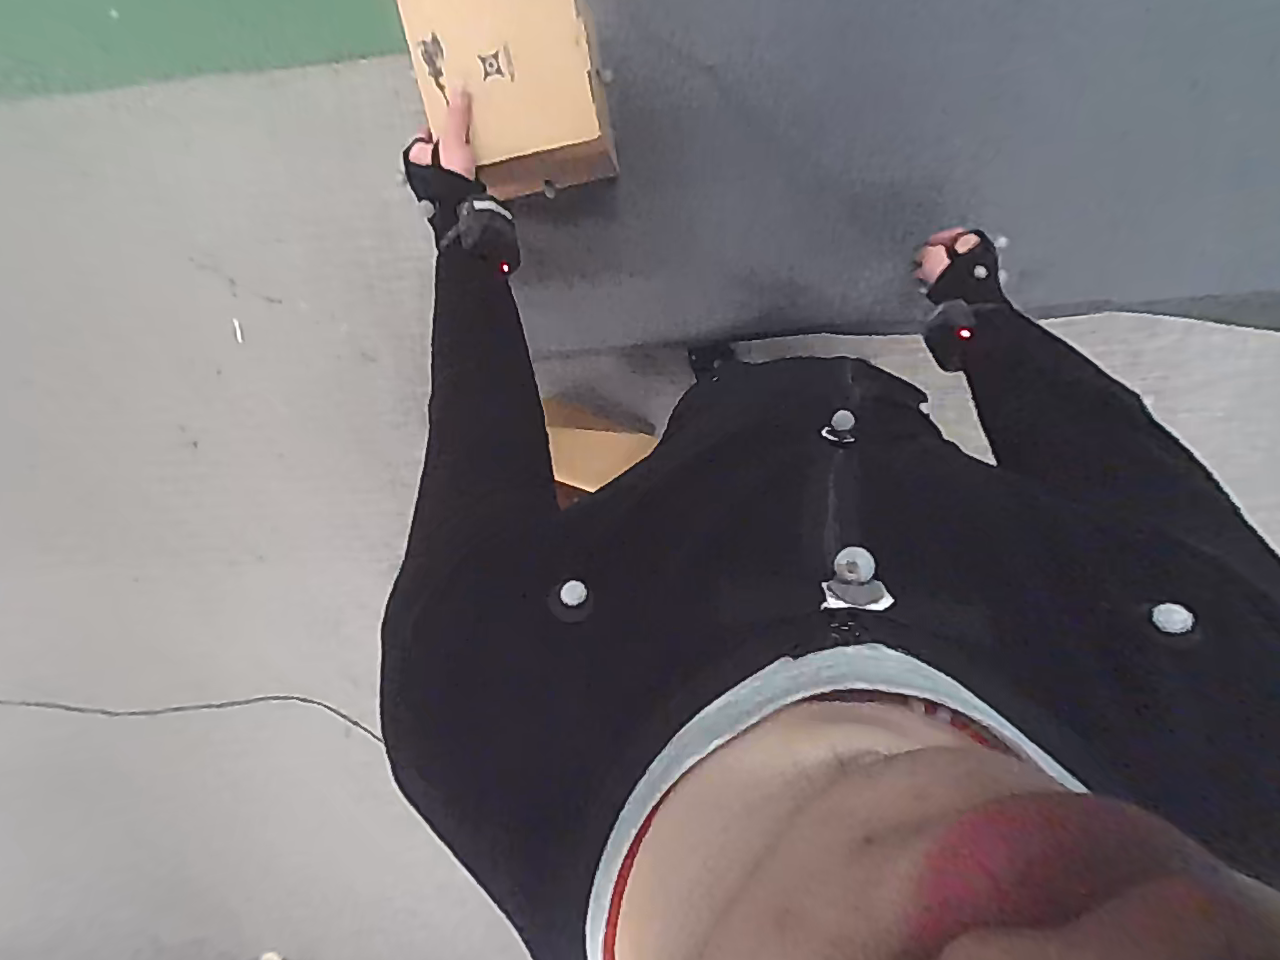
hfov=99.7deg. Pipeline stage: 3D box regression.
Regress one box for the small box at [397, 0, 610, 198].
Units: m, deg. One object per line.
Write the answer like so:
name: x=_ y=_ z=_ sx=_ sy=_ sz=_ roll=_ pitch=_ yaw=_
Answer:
small box: x=-0.133 y=-0.432 z=0.605 sx=0.179 sy=0.176 sz=0.168 roll=-8 pitch=107 yaw=6
